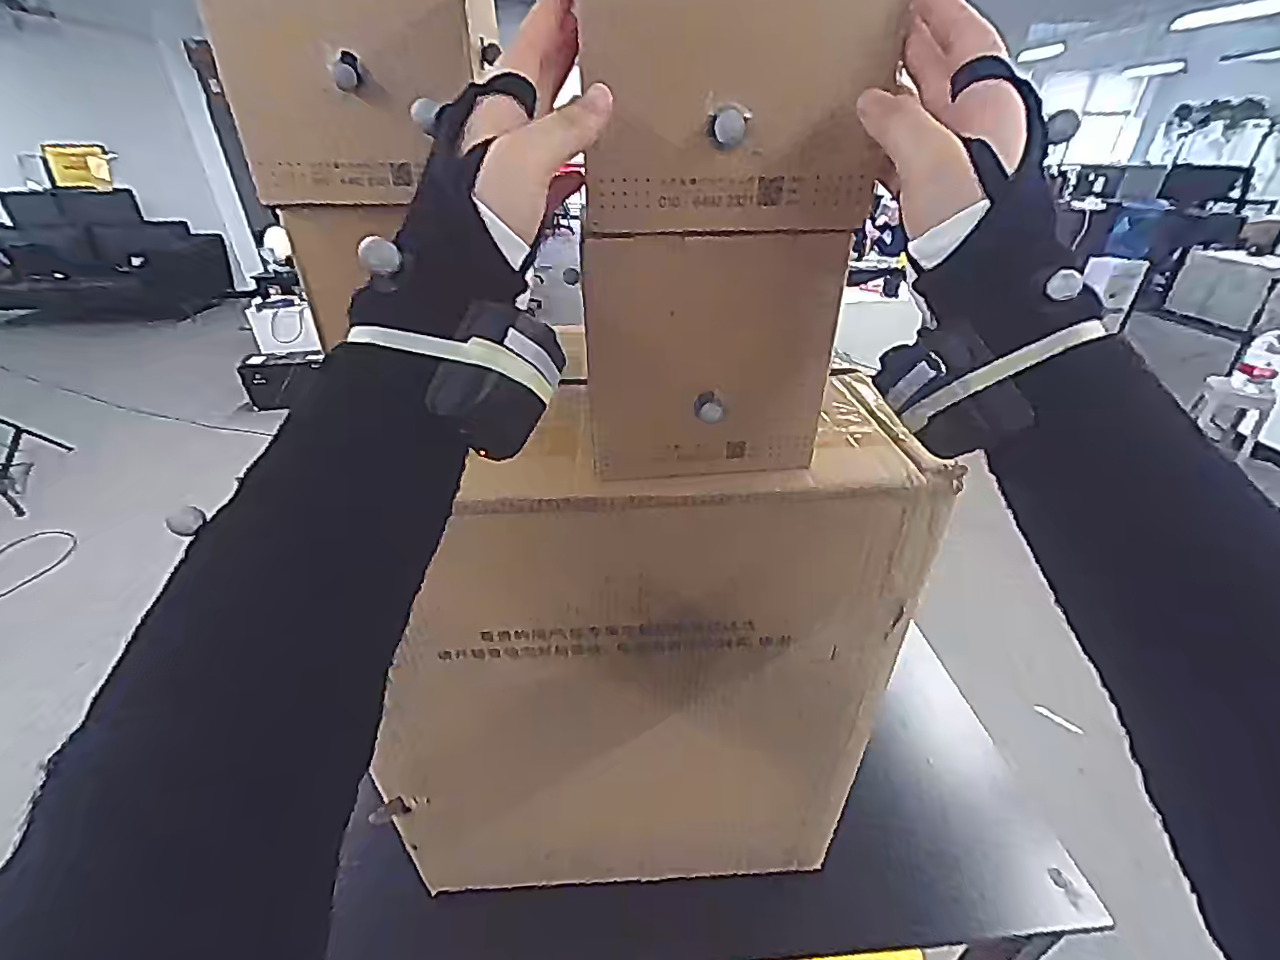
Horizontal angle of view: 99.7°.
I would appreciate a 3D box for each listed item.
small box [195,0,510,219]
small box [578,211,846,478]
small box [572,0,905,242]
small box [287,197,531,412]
[{"bbox_3d":[-0.203,-0.310,0.434,0.168,0.176,0.179,-3,32,-5],"label":"small box"},{"bbox_3d":[0.039,-0.117,0.435,0.168,0.176,0.179,-4,32,-4],"label":"small box"},{"bbox_3d":[0.043,-0.254,0.344,0.168,0.176,0.179,-3,33,-3],"label":"small box"},{"bbox_3d":[-0.202,-0.178,0.533,0.168,0.176,0.179,-5,33,-6],"label":"small box"}]
